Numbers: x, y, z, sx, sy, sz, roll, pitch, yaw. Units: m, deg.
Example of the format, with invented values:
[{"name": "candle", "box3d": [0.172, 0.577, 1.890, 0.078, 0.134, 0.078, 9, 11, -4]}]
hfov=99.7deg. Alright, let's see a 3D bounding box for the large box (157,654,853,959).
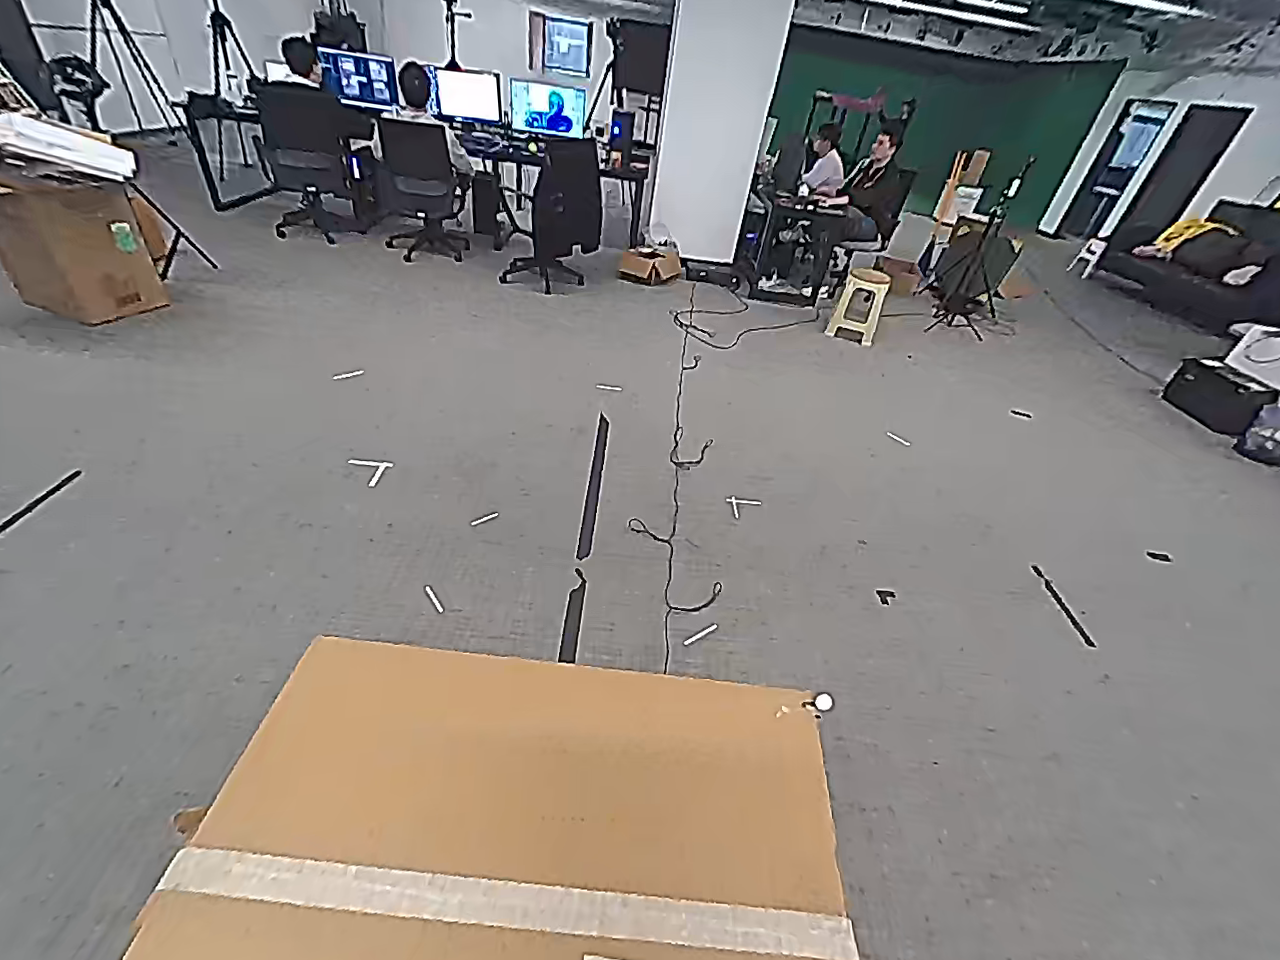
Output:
[{"name": "large box", "box3d": [-0.082, 0.372, 0.428, 0.408, 0.320, 0.320, 7, 43, -1]}]
